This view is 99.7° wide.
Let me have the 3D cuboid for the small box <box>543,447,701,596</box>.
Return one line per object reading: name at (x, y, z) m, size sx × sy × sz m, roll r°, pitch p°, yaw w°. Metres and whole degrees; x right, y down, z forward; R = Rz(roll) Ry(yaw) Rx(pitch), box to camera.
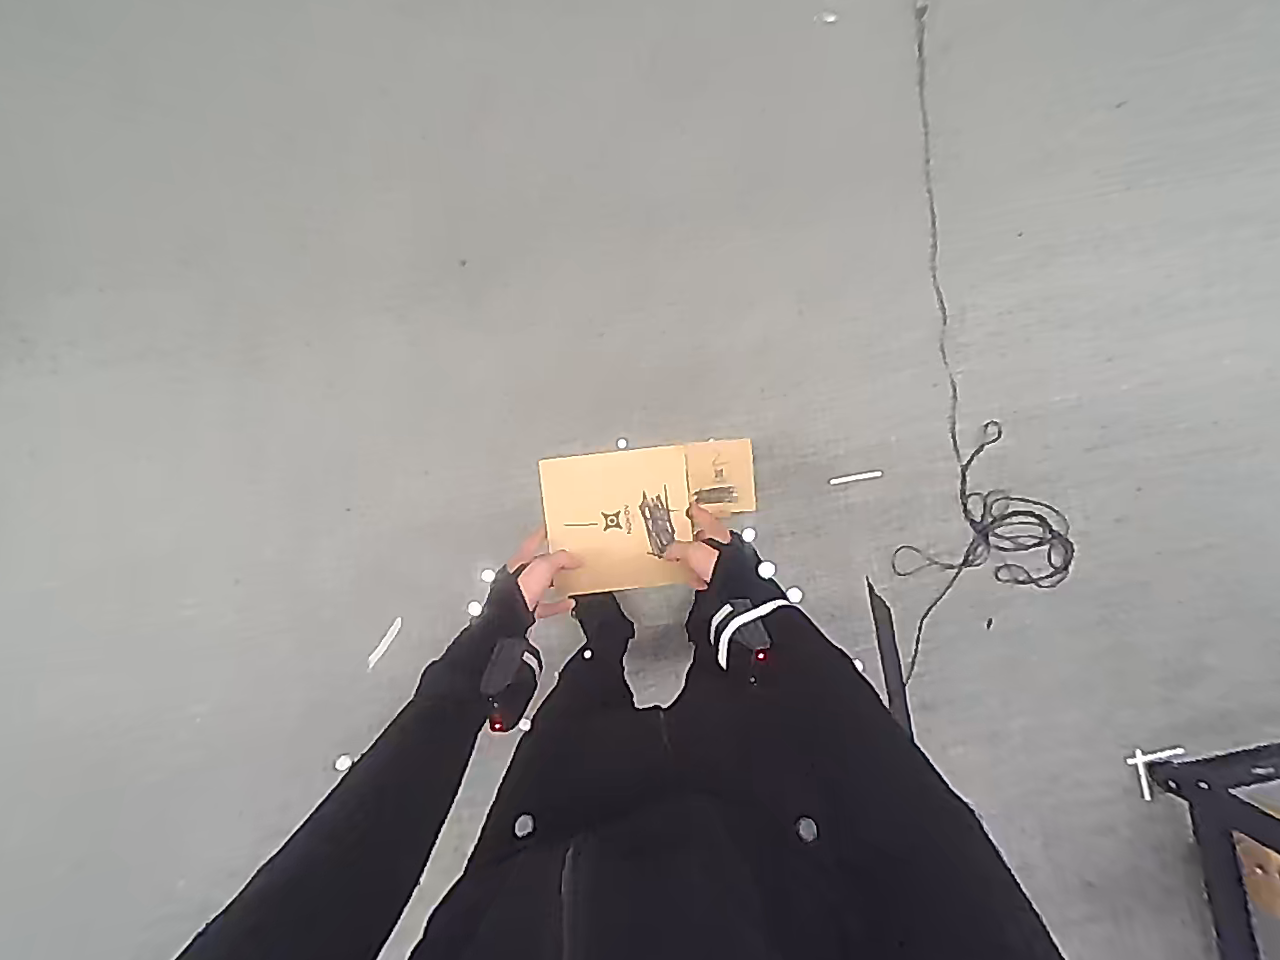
small box at (-0.022, 0.045, 0.714) m, size 0.179 × 0.176 × 0.168 m, roll -6°, pitch 93°, yaw 0°
